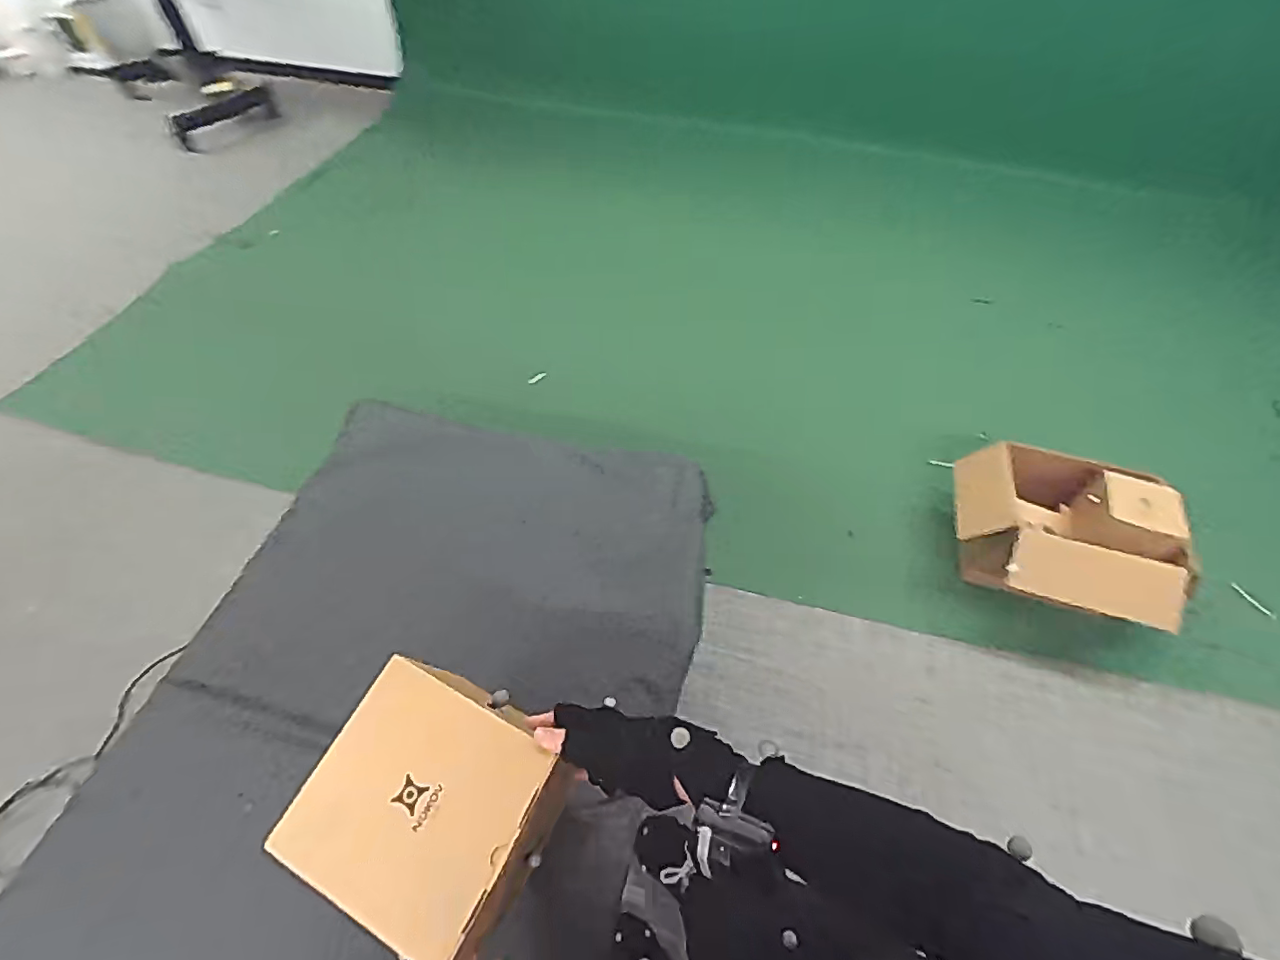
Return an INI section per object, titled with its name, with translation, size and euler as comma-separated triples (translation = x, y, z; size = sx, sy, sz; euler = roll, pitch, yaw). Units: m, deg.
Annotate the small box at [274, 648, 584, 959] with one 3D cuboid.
[small box]
translation = -0.171, 0.284, 0.500
size = 0.179, 0.176, 0.168
euler = 26, 66, 13
